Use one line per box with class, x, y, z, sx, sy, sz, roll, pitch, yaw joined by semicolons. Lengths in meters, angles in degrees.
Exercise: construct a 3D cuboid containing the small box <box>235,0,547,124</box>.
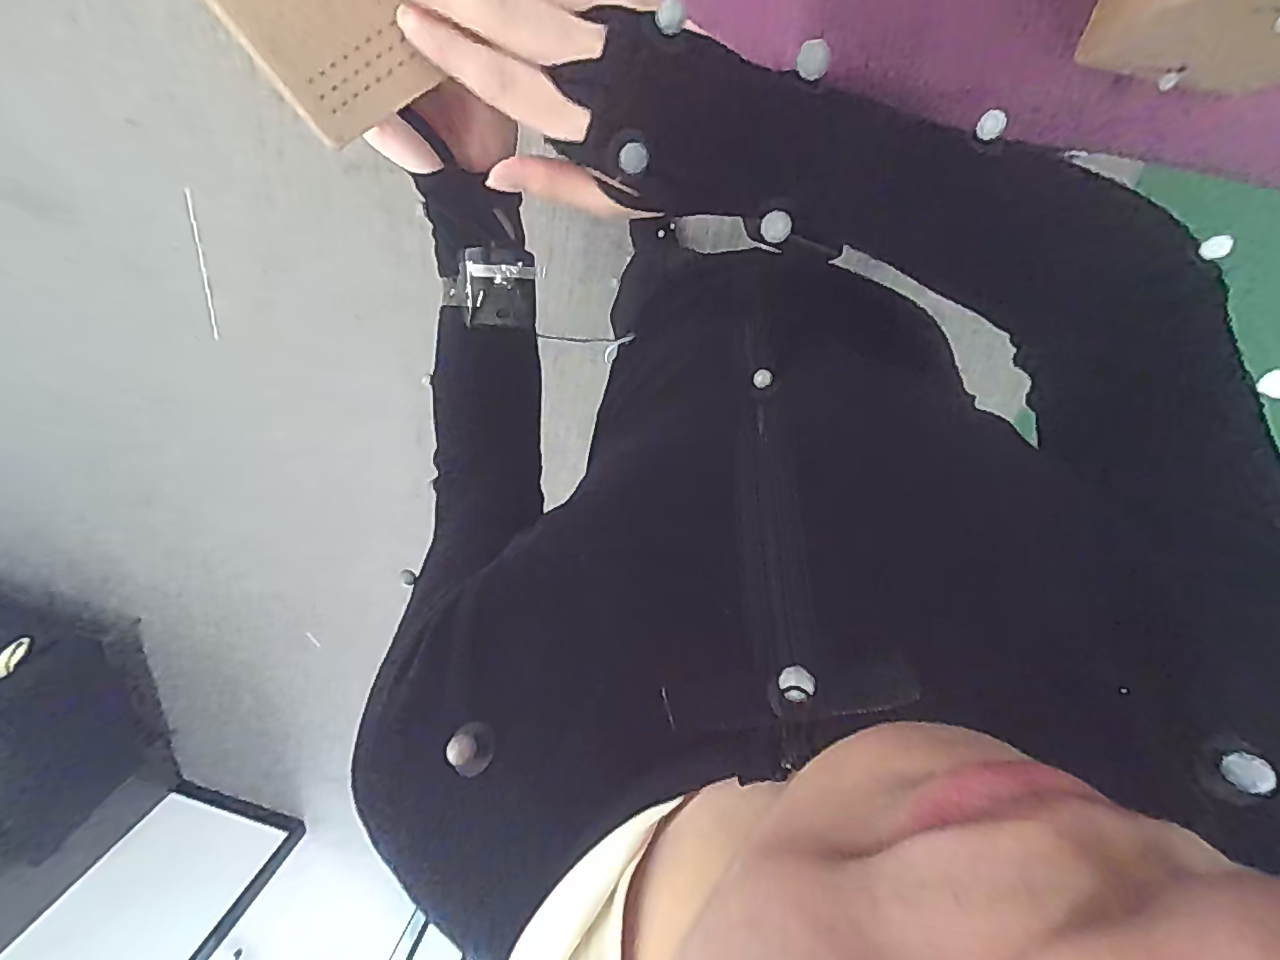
small box;-0.129;-0.304;0.248;0.179;0.168;0.176;-30;138;4
